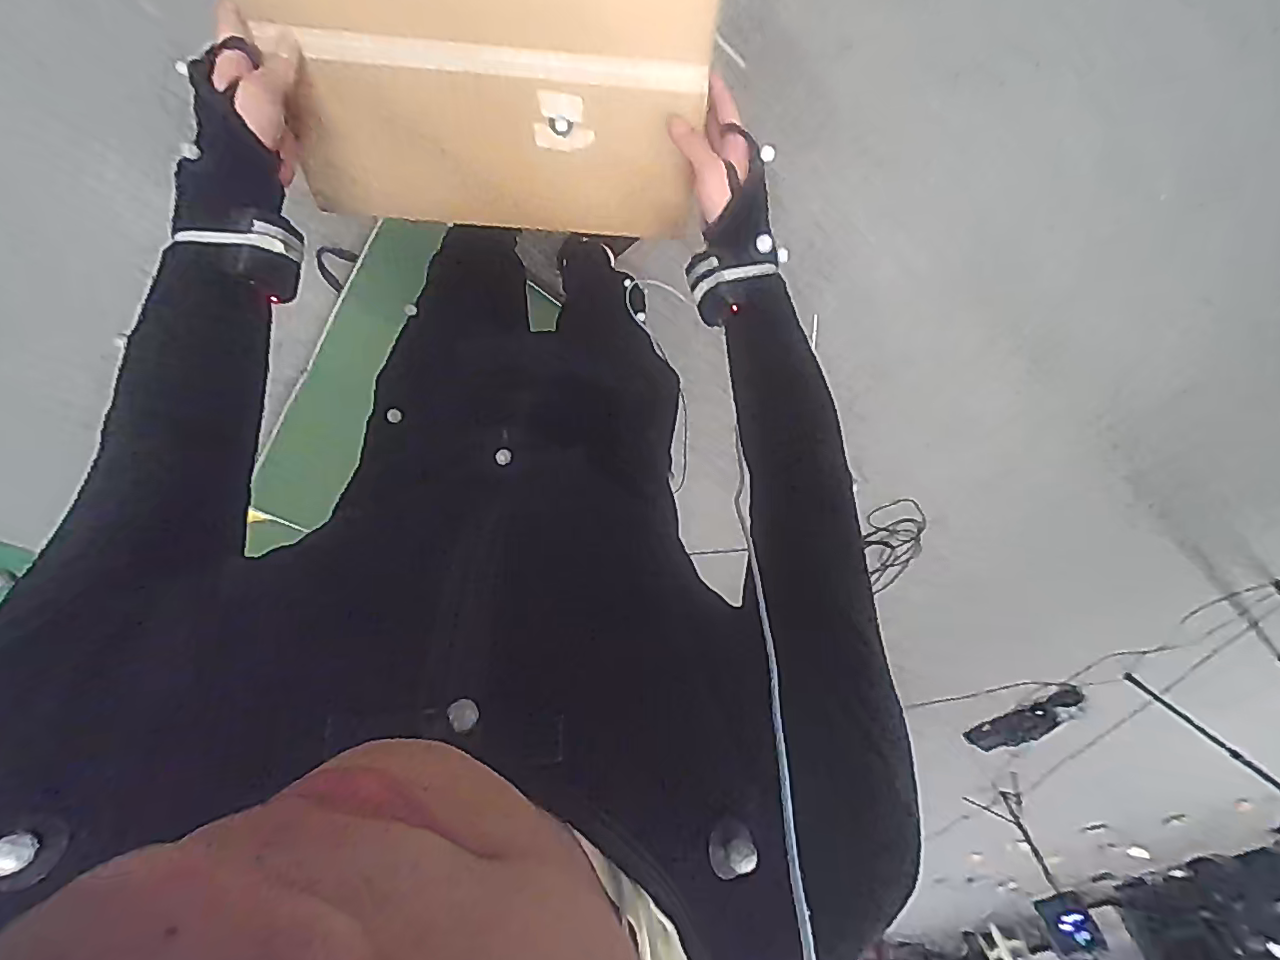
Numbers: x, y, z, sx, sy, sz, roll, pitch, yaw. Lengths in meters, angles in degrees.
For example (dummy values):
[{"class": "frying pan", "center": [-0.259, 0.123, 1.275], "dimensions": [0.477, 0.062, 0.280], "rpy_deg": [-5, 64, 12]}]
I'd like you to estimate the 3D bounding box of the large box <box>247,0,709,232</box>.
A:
[{"class": "large box", "center": [-0.146, -0.500, 0.593], "dimensions": [0.408, 0.320, 0.320], "rpy_deg": [1, 141, -4]}]
